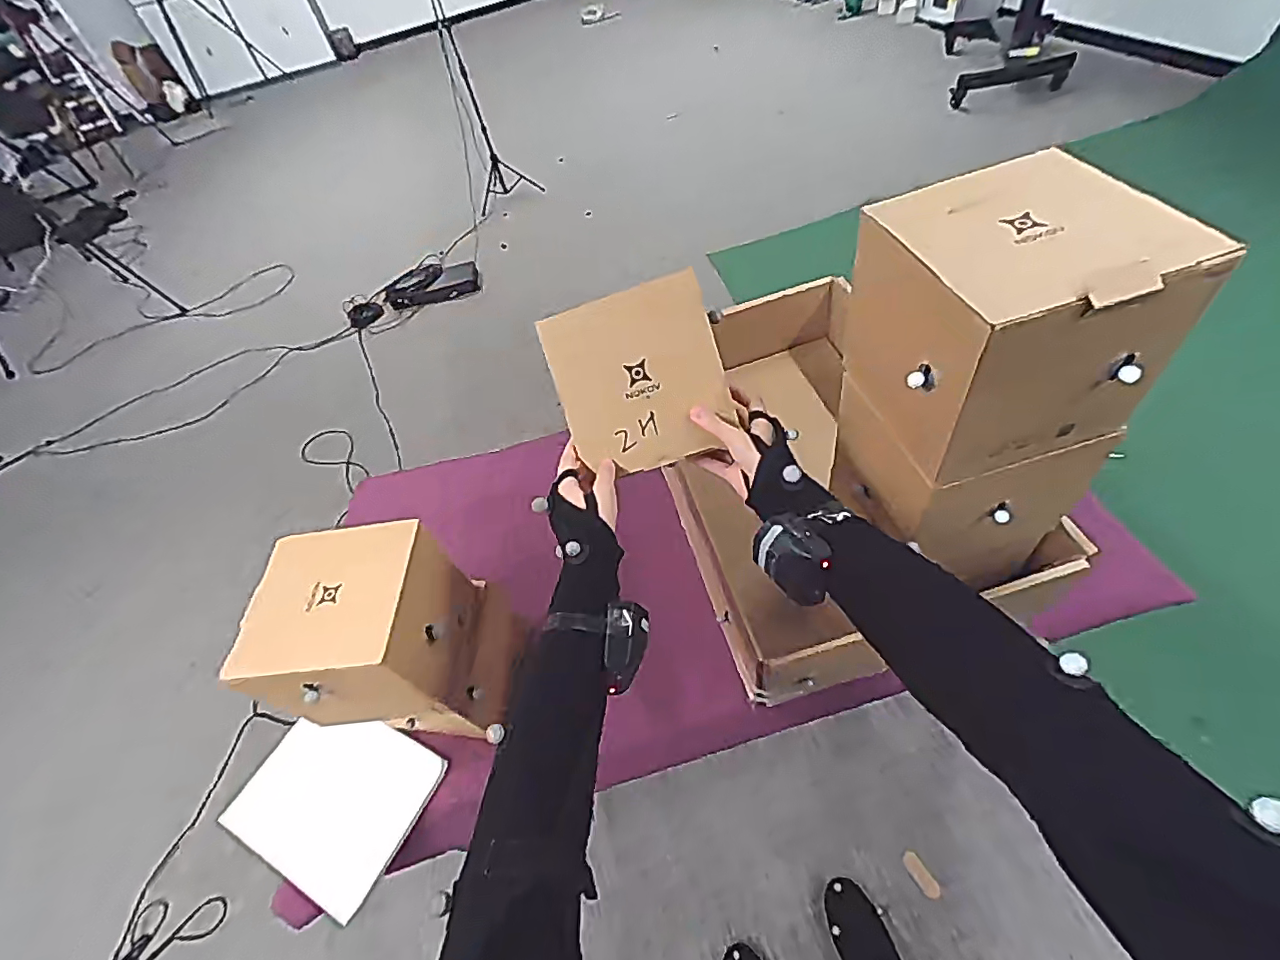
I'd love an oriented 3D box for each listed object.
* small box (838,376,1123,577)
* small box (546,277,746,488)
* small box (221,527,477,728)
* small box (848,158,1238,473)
[{"bbox_3d":[0.328,-0.023,0.570,0.179,0.176,0.168,-17,50,2],"label":"small box"},{"bbox_3d":[0.012,-0.104,0.617,0.168,0.179,0.176,-16,6,8],"label":"small box"},{"bbox_3d":[-0.308,0.175,0.622,0.179,0.176,0.168,-9,51,7],"label":"small box"},{"bbox_3d":[0.292,-0.125,0.449,0.168,0.176,0.179,-17,50,1],"label":"small box"}]
